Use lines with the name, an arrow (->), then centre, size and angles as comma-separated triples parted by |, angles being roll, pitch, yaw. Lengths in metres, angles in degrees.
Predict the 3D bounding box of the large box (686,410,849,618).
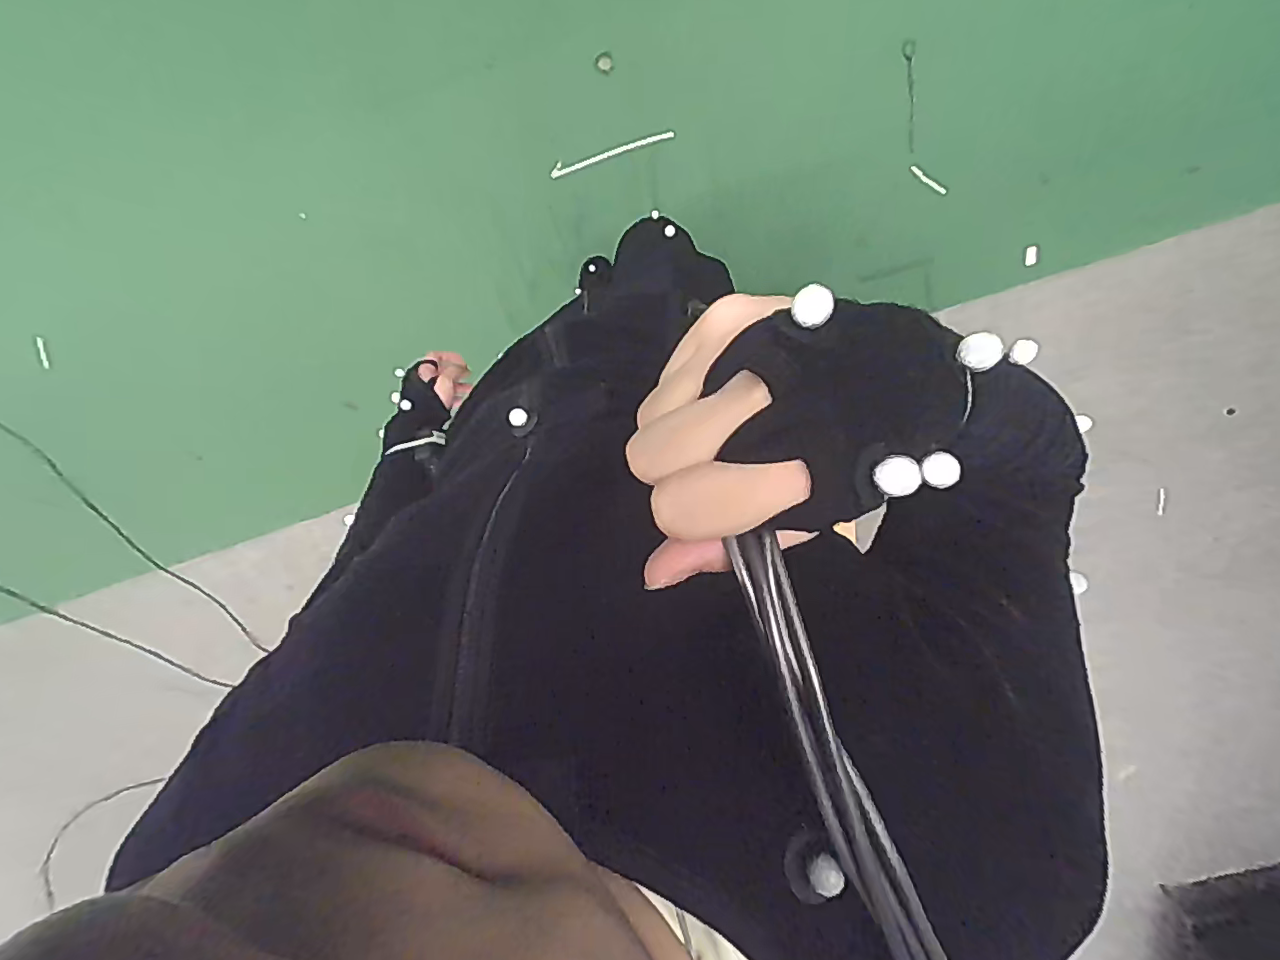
large box -> 0.324, 0.078, 1.411 | 0.320, 0.320, 0.408 | -12, 115, 2
